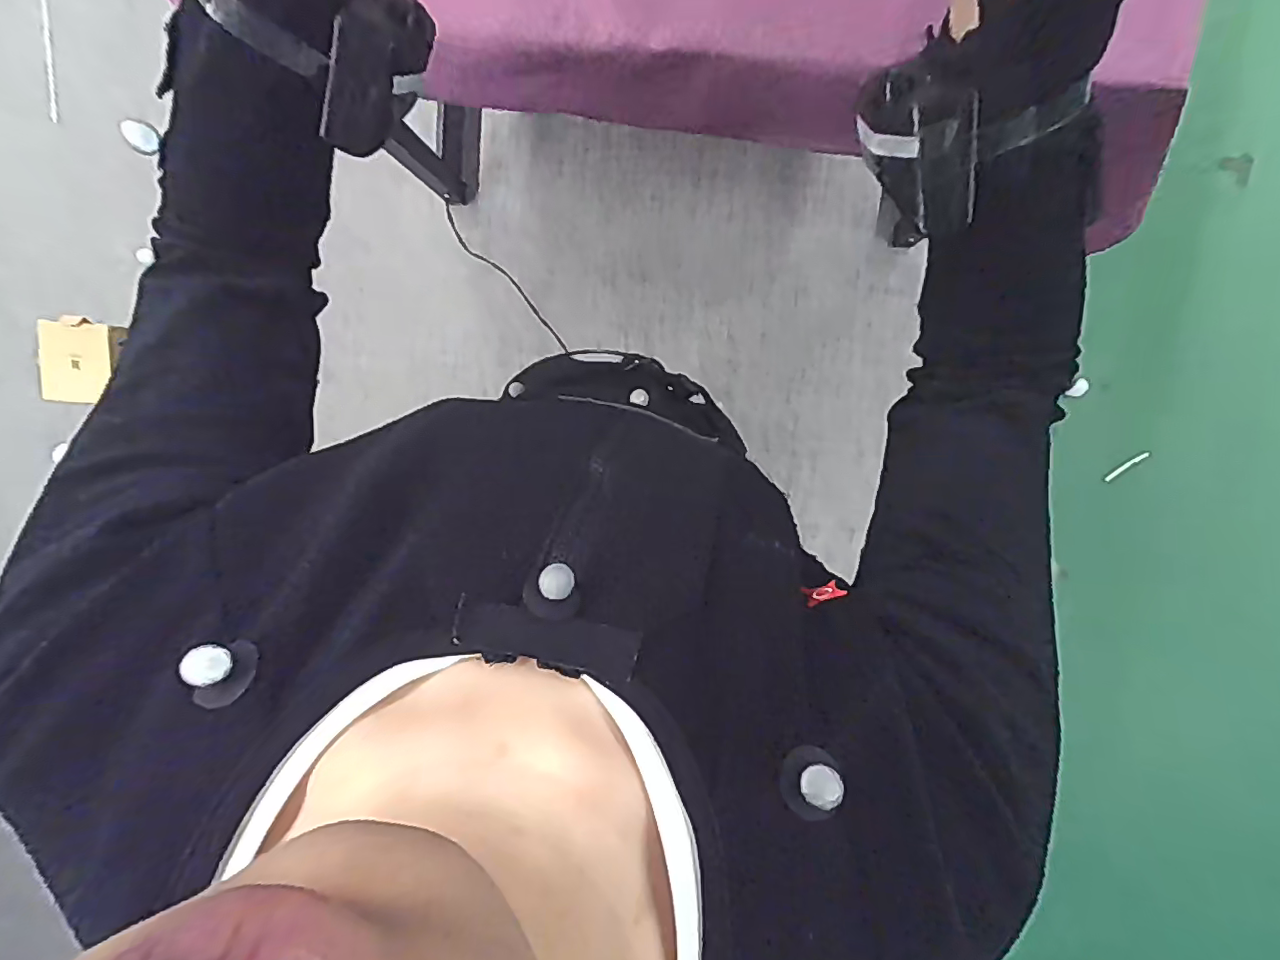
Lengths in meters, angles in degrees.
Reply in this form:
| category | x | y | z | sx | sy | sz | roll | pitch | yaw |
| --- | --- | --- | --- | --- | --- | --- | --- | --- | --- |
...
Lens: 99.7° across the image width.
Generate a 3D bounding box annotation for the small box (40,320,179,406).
| category | x | y | z | sx | sy | sz | roll | pitch | yaw |
| --- | --- | --- | --- | --- | --- | --- | --- | --- | --- |
| small box | -1.226 | -0.268 | 1.263 | 0.168 | 0.176 | 0.179 | 4 | 98 | 3 |
